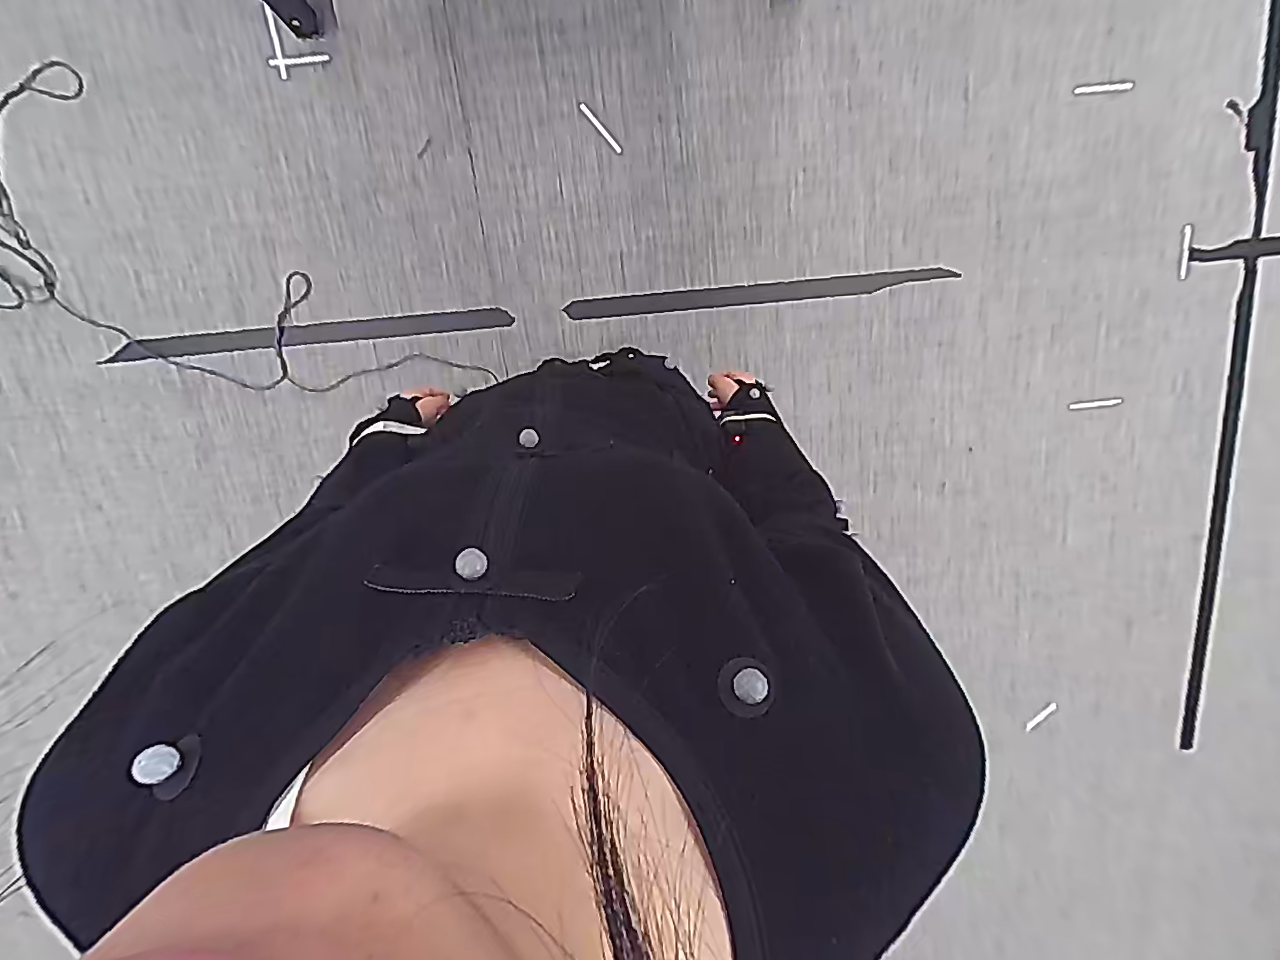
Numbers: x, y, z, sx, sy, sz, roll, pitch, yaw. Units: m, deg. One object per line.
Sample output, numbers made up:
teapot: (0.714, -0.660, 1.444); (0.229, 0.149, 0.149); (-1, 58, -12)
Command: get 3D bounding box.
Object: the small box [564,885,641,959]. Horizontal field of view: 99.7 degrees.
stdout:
small box: (-0.091, 1.170, 1.370); (0.179, 0.176, 0.168); (-7, 101, -1)
